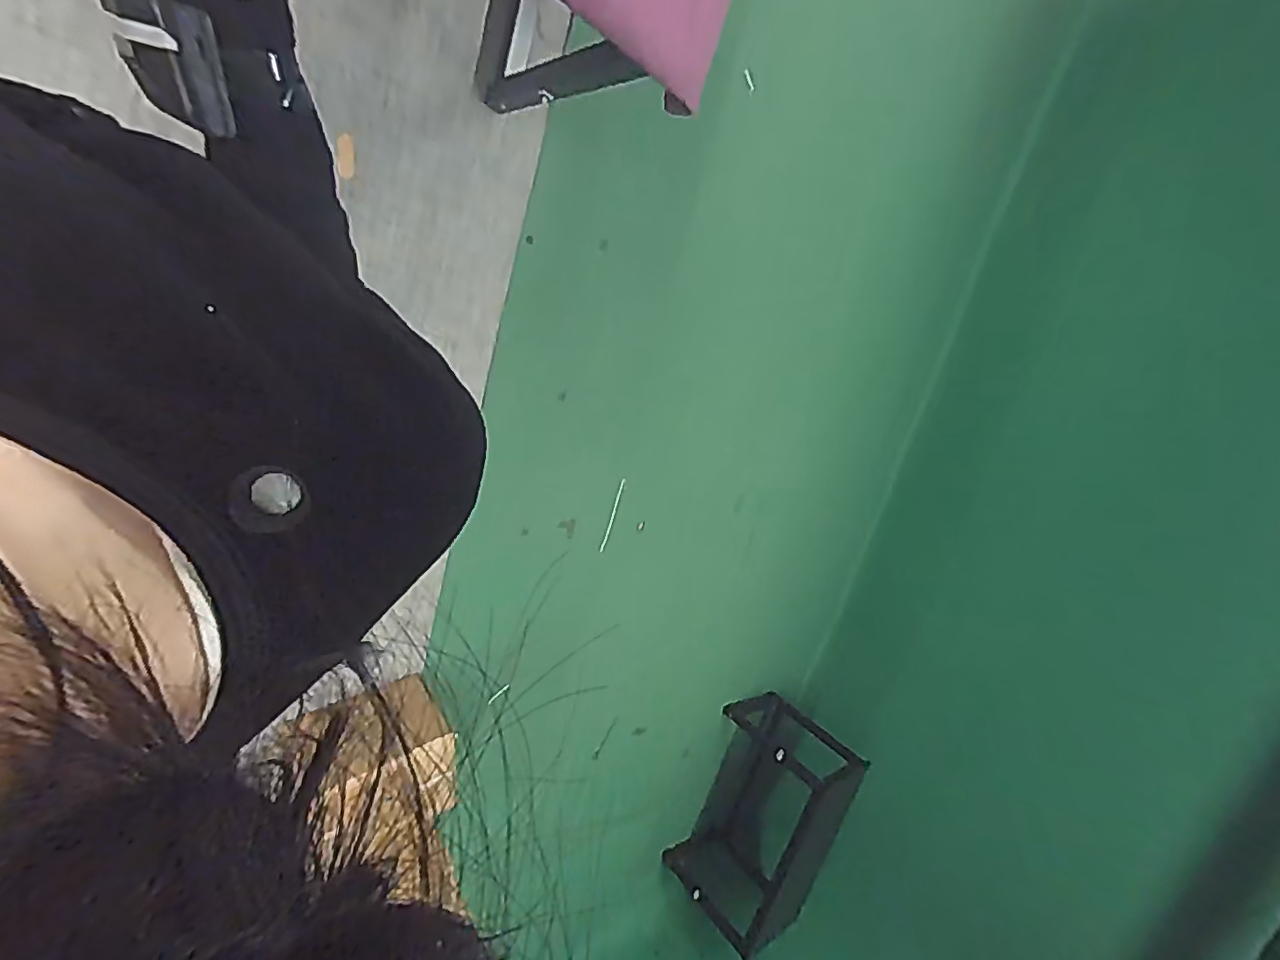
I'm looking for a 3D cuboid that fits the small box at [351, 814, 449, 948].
[{"bbox_3d":[-0.602,0.987,1.352,0.179,0.176,0.168,-4,113,-41],"label":"small box"}]

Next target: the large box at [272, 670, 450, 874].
[{"bbox_3d":[-0.844,0.862,1.657,0.408,0.320,0.320,-13,120,-40],"label":"large box"}]

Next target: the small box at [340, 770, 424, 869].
[{"bbox_3d":[-0.701,0.924,1.462,0.168,0.176,0.179,-6,114,-41],"label":"small box"}]
